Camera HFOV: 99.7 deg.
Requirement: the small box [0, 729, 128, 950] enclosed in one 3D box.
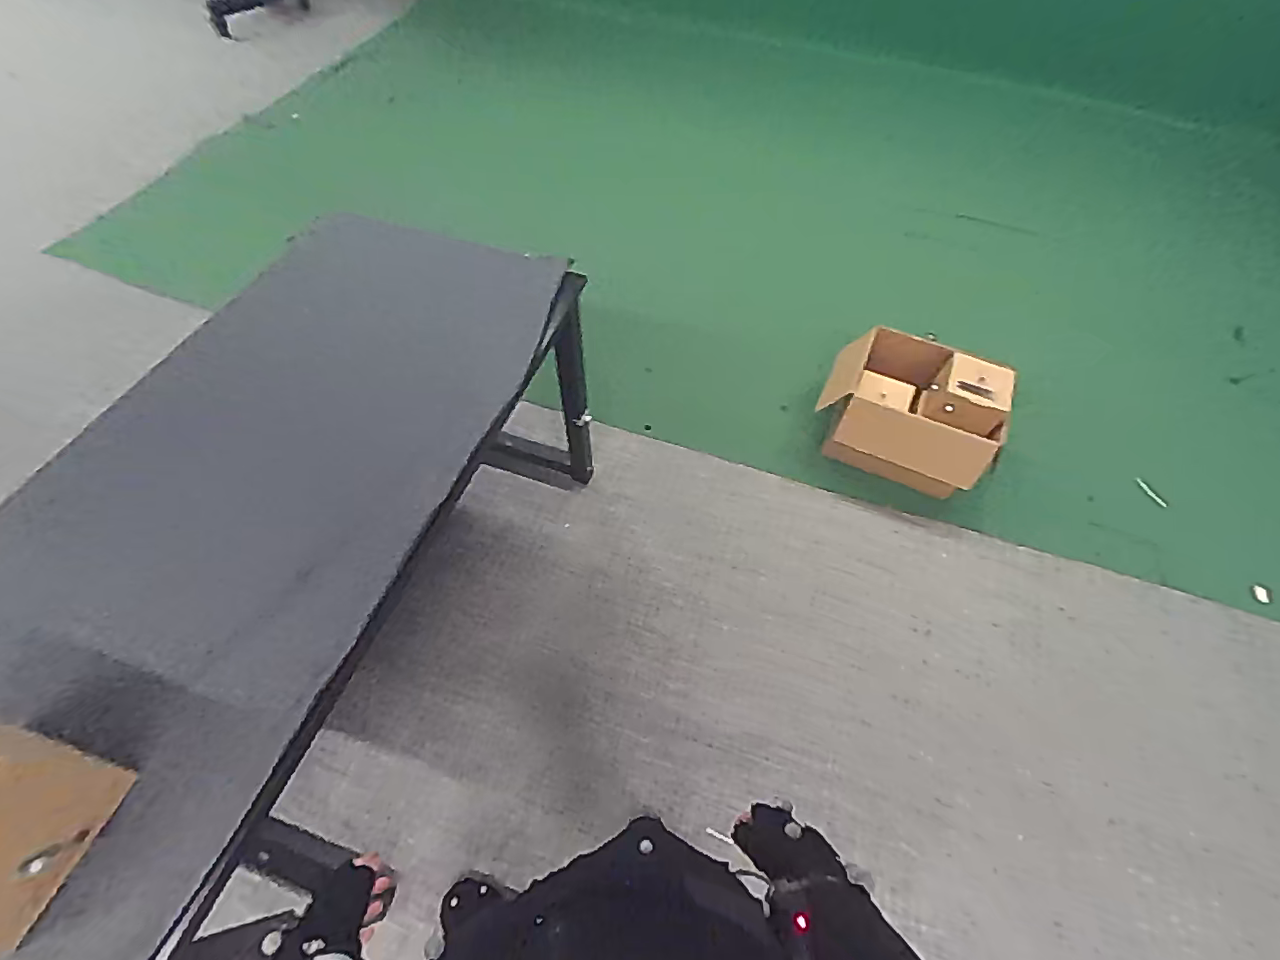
[{"bbox_3d":[-0.668,0.332,0.507,0.179,0.176,0.168,15,58,9],"label":"small box"}]
